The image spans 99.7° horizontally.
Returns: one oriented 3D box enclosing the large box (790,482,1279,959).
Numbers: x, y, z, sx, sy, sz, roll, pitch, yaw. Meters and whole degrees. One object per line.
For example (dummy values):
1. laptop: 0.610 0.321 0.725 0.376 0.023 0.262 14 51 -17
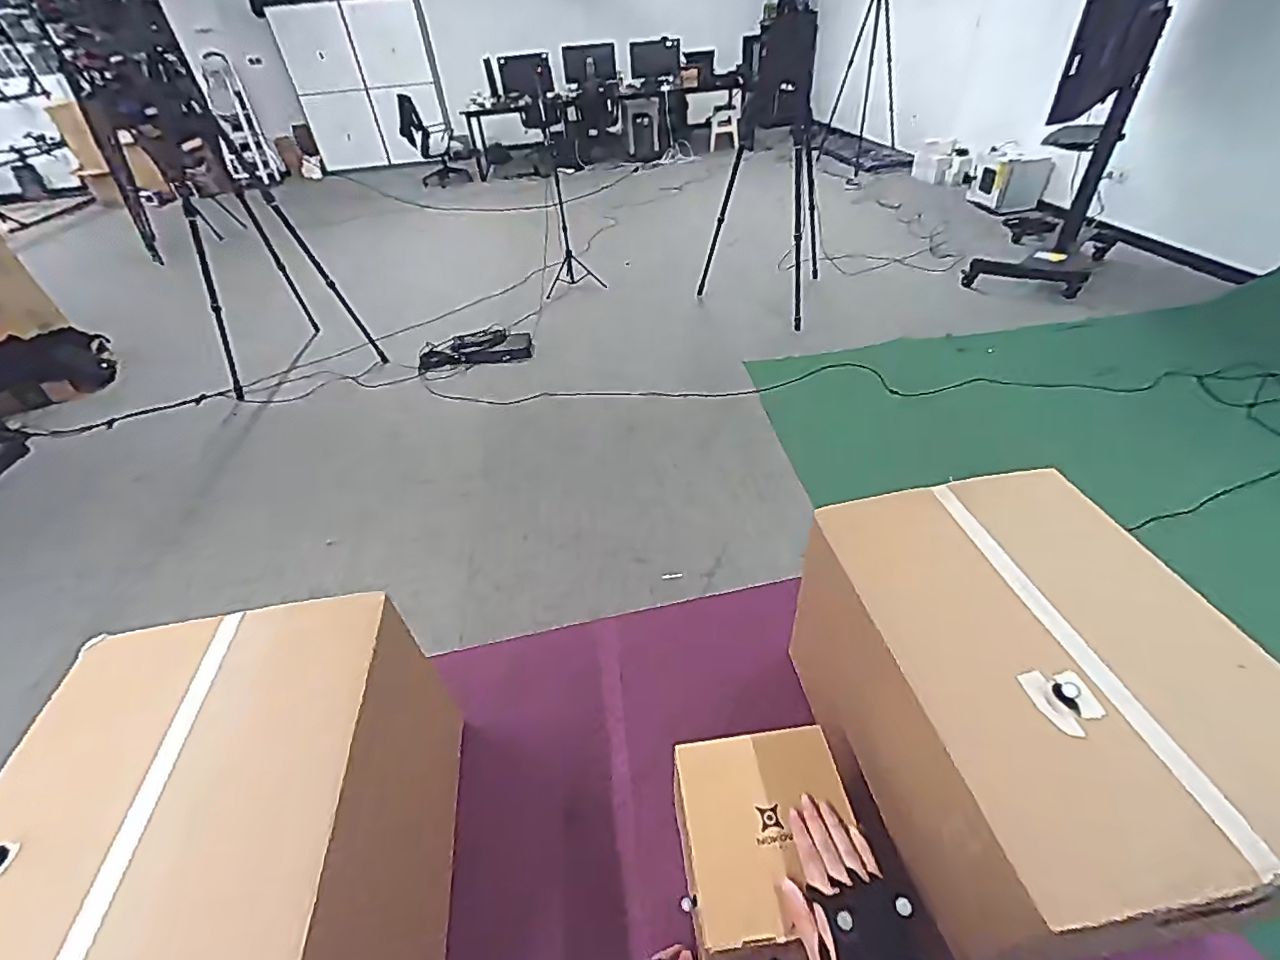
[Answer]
1. large box: 0.404 0.259 0.616 0.320 0.320 0.408 -9 41 -3
